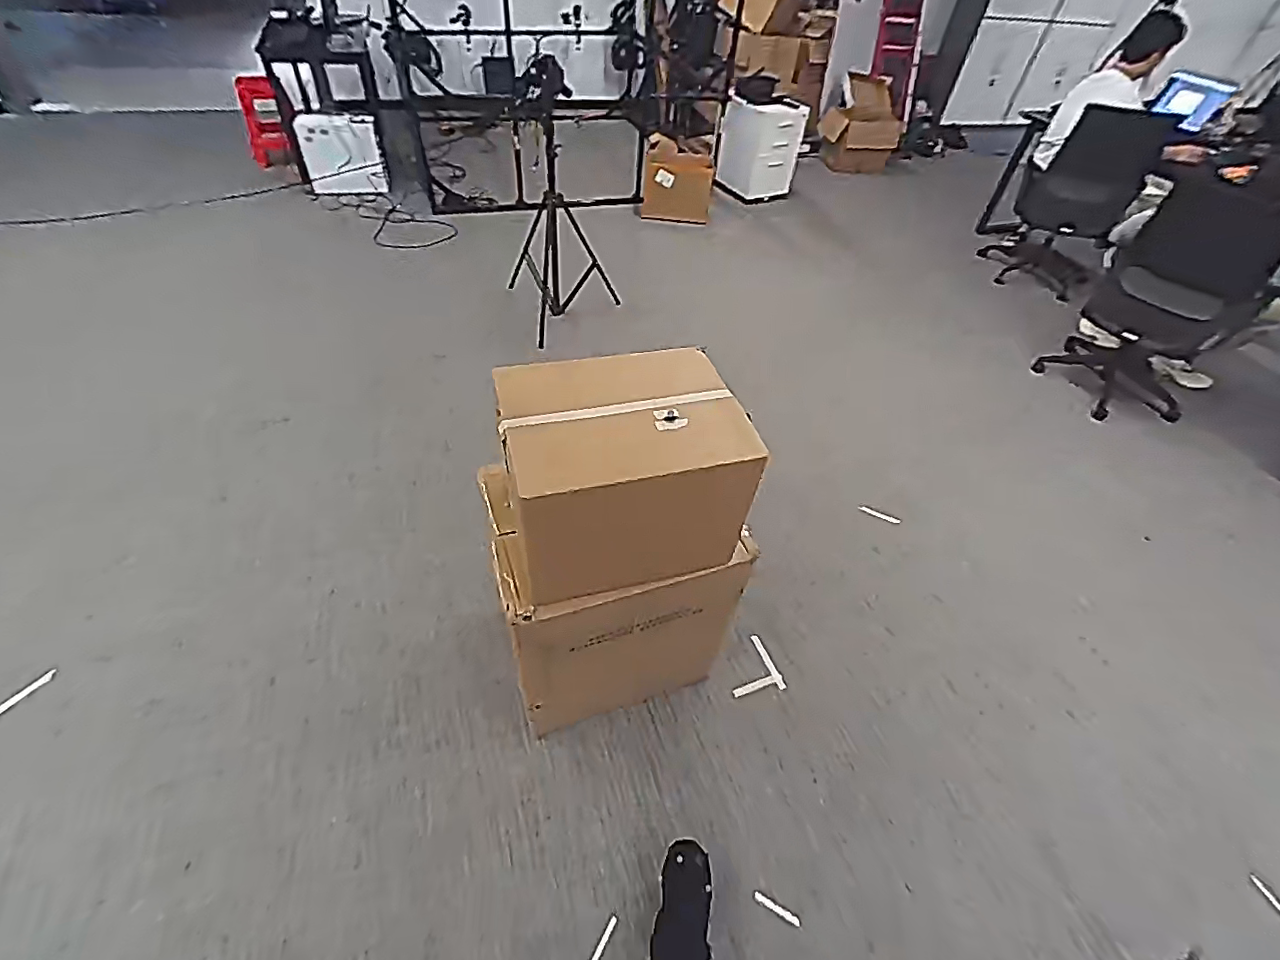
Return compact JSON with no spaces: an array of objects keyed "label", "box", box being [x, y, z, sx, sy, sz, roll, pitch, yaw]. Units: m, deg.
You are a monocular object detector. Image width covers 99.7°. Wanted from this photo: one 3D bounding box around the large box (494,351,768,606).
[{"label":"large box","box":[-0.038,-0.010,1.017,0.408,0.320,0.320,-10,50,-16]}]
